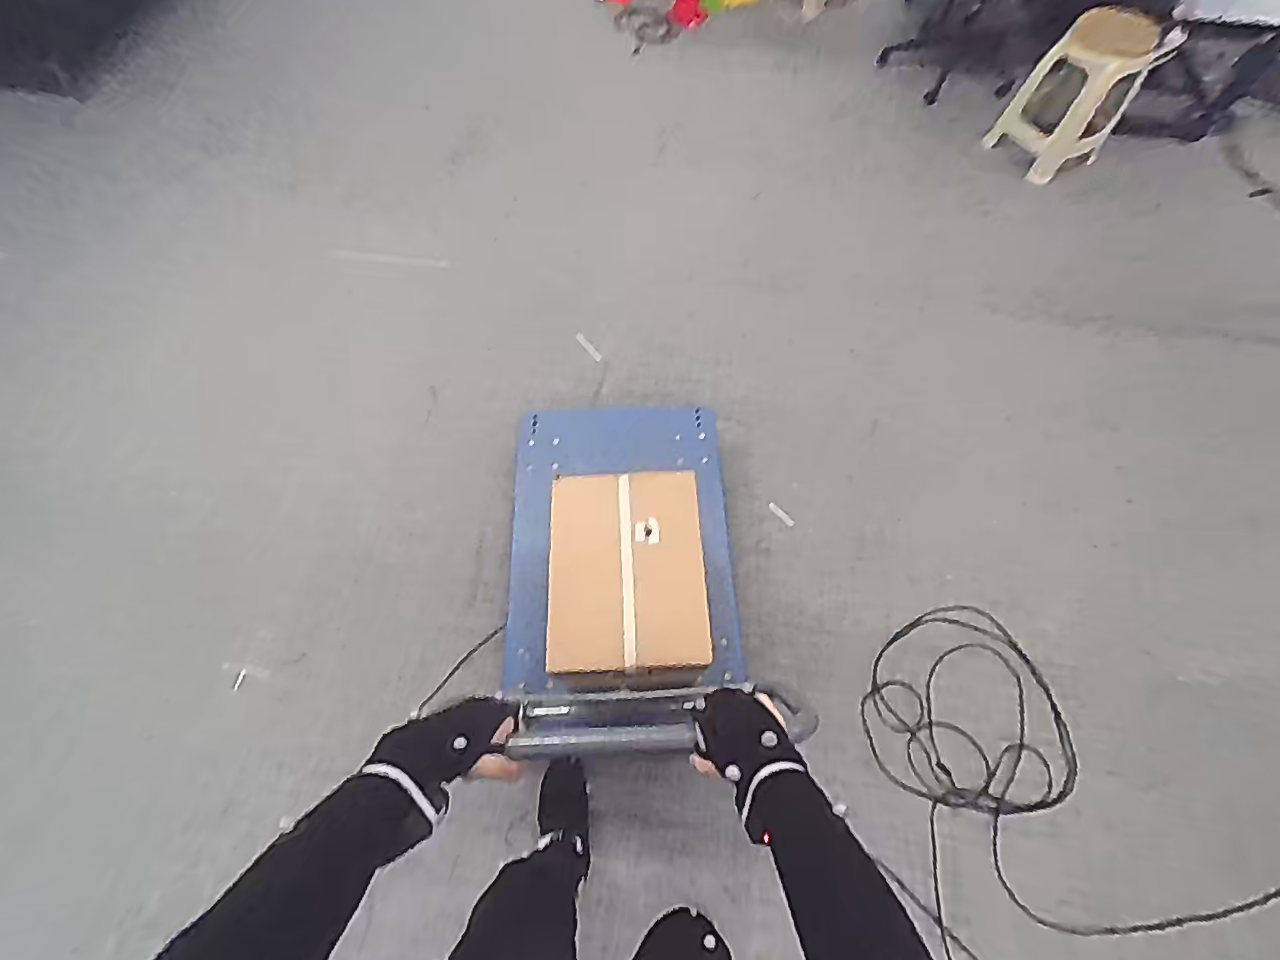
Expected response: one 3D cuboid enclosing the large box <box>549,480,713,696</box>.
[{"bbox_3d":[-0.025,0.253,1.225,0.320,0.320,0.408,-2,63,-2],"label":"large box"}]
